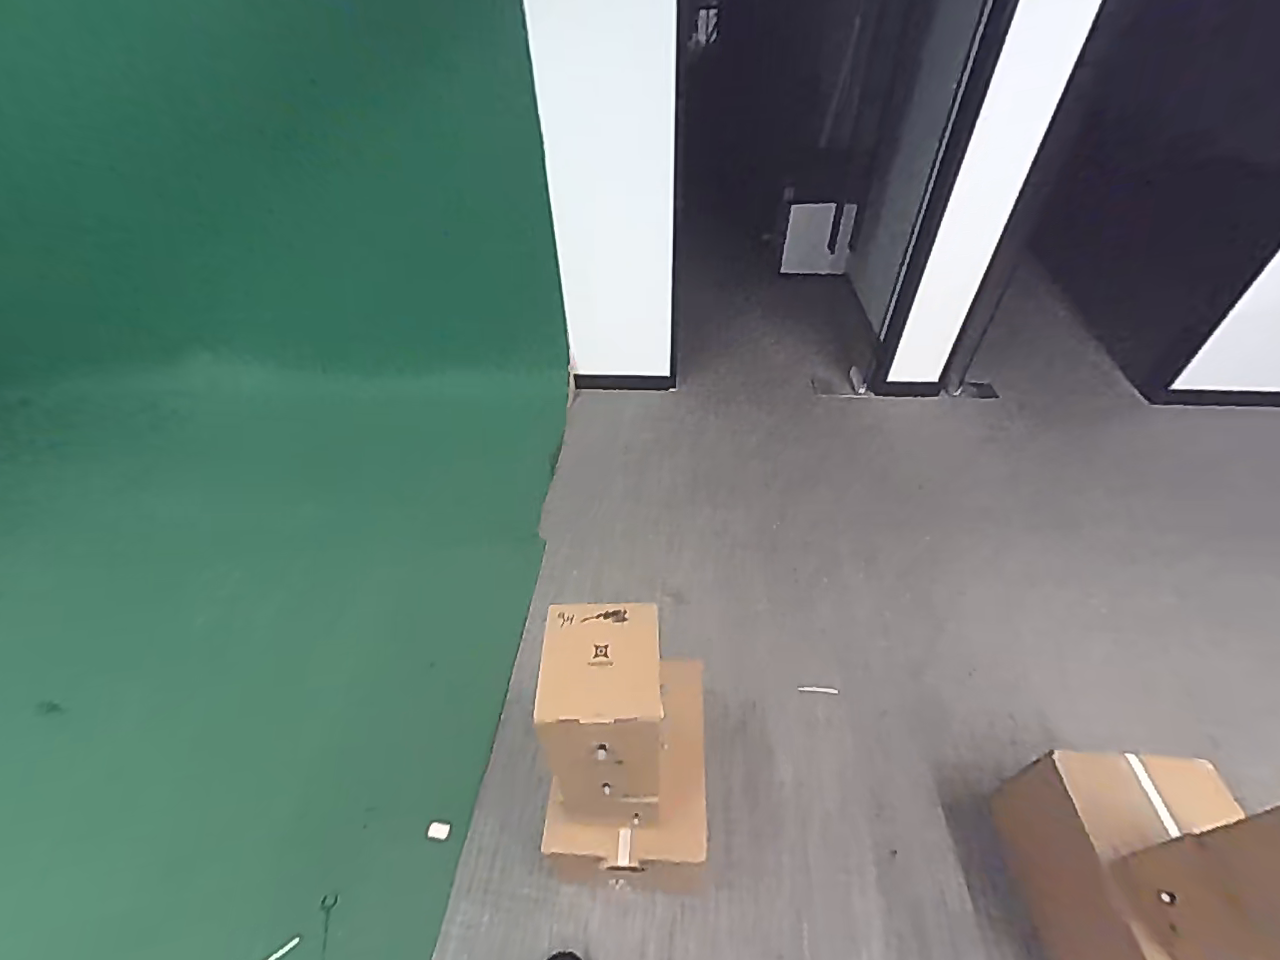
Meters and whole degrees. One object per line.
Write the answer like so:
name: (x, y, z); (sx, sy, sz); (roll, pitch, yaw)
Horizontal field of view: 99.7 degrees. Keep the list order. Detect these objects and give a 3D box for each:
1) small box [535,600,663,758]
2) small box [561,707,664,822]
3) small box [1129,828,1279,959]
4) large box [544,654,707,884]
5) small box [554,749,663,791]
small box: (-0.050, 0.298, 0.802); (0.168, 0.176, 0.179); (-1, 45, 1)
small box: (-0.044, 0.535, 1.030); (0.179, 0.176, 0.168); (0, 44, 3)
small box: (0.958, 0.673, 0.863); (0.179, 0.176, 0.168); (0, 45, 3)
large box: (-0.016, 0.659, 1.250); (0.320, 0.320, 0.408); (2, 44, 3)
small box: (-0.047, 0.414, 0.919); (0.168, 0.176, 0.179); (-2, 44, 0)
